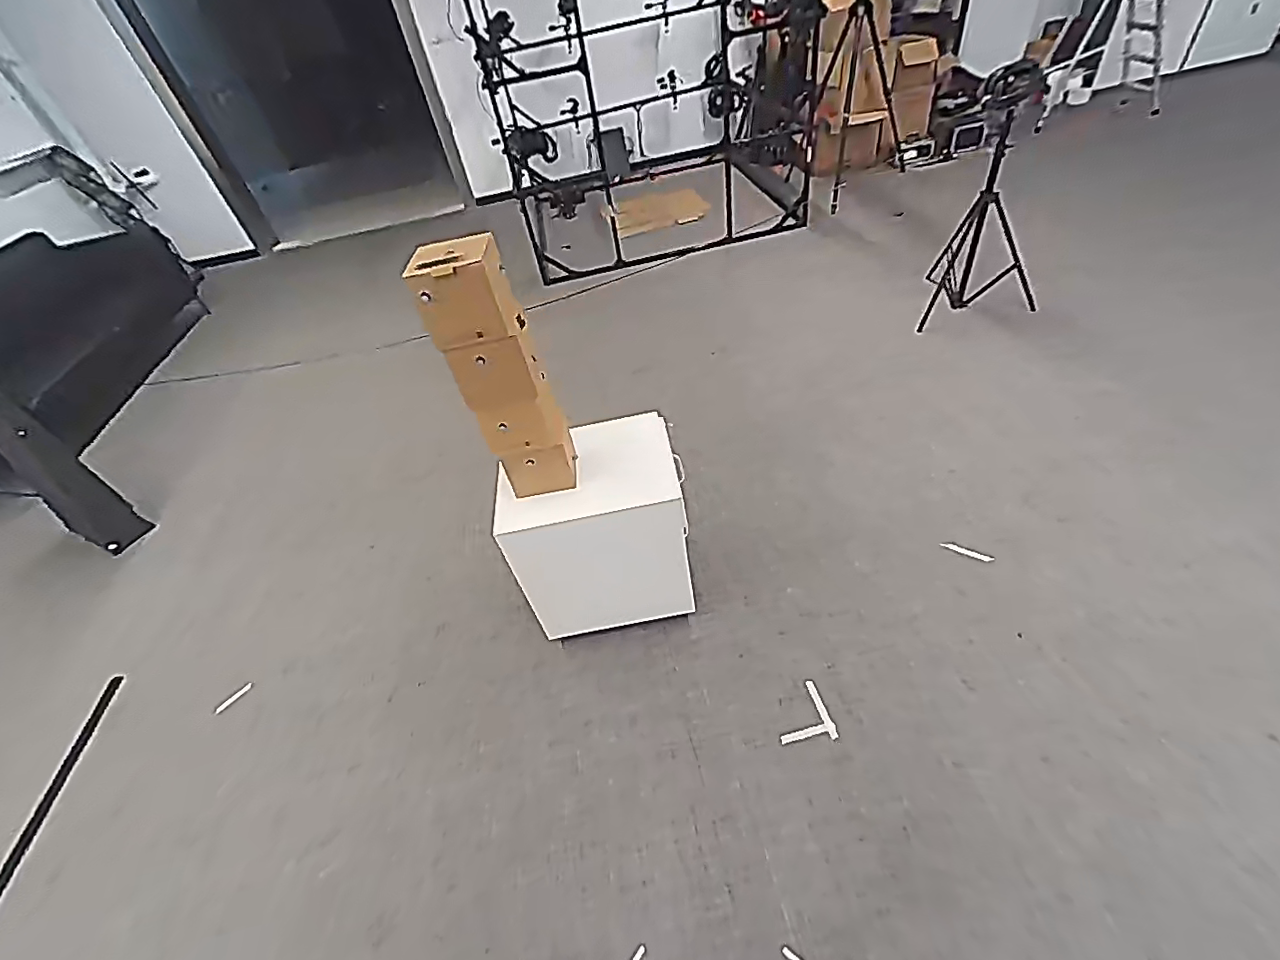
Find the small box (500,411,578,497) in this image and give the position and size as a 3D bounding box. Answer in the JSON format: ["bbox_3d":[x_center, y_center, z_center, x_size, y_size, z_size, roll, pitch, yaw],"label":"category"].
[{"bbox_3d":[-0.280,-0.070,1.531,0.179,0.176,0.168,-9,44,1],"label":"small box"}]

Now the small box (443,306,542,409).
[{"bbox_3d":[-0.345,-0.290,1.297,0.179,0.176,0.168,-11,44,1],"label":"small box"}]

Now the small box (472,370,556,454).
[{"bbox_3d":[-0.321,-0.182,1.420,0.168,0.176,0.179,-9,43,3],"label":"small box"}]
